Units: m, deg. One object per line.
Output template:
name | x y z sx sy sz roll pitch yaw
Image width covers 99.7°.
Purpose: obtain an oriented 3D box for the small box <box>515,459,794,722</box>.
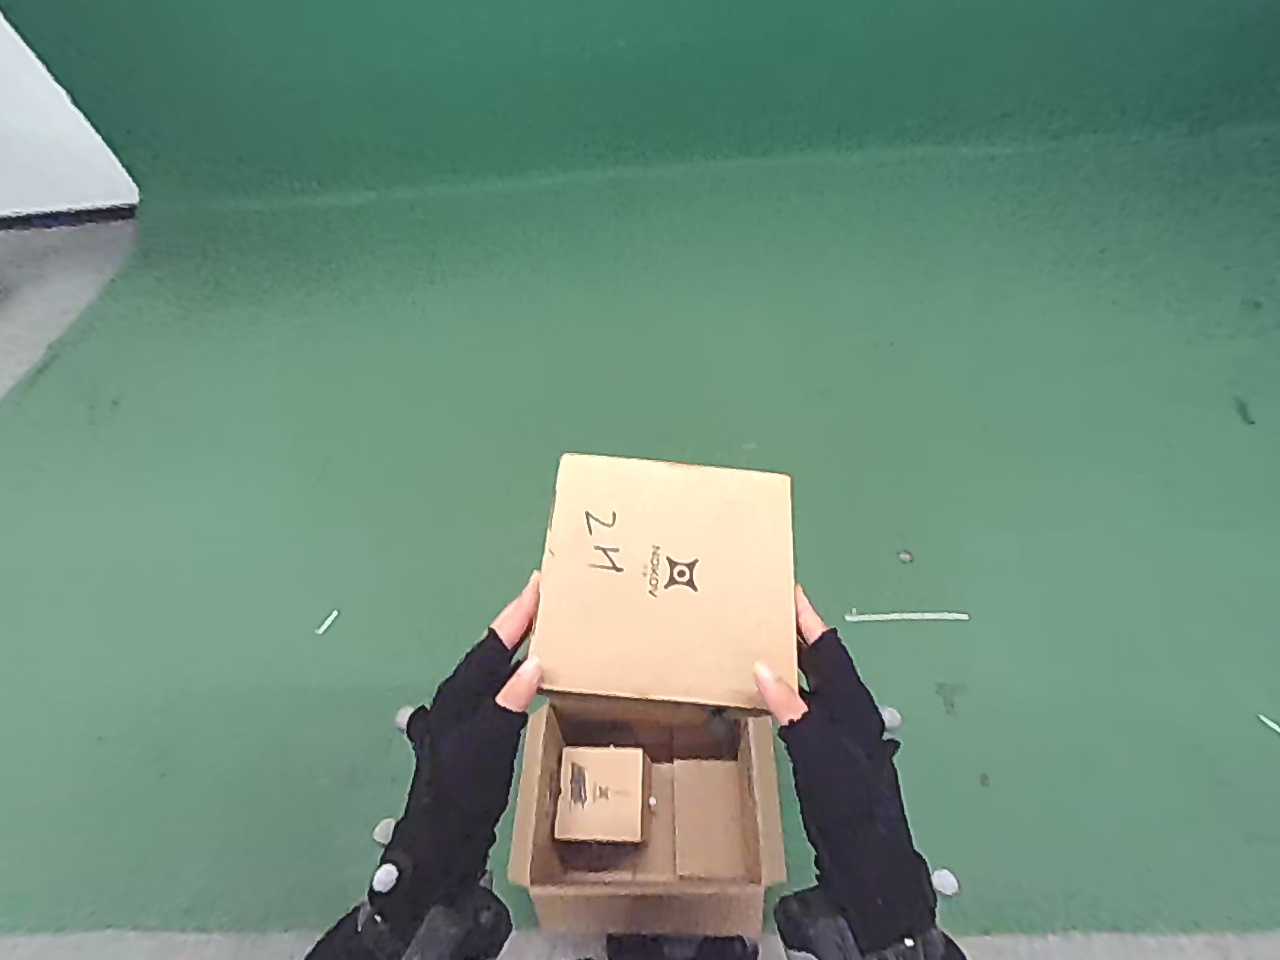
small box | 0.012 0.100 0.439 0.179 0.176 0.168 5 64 0
